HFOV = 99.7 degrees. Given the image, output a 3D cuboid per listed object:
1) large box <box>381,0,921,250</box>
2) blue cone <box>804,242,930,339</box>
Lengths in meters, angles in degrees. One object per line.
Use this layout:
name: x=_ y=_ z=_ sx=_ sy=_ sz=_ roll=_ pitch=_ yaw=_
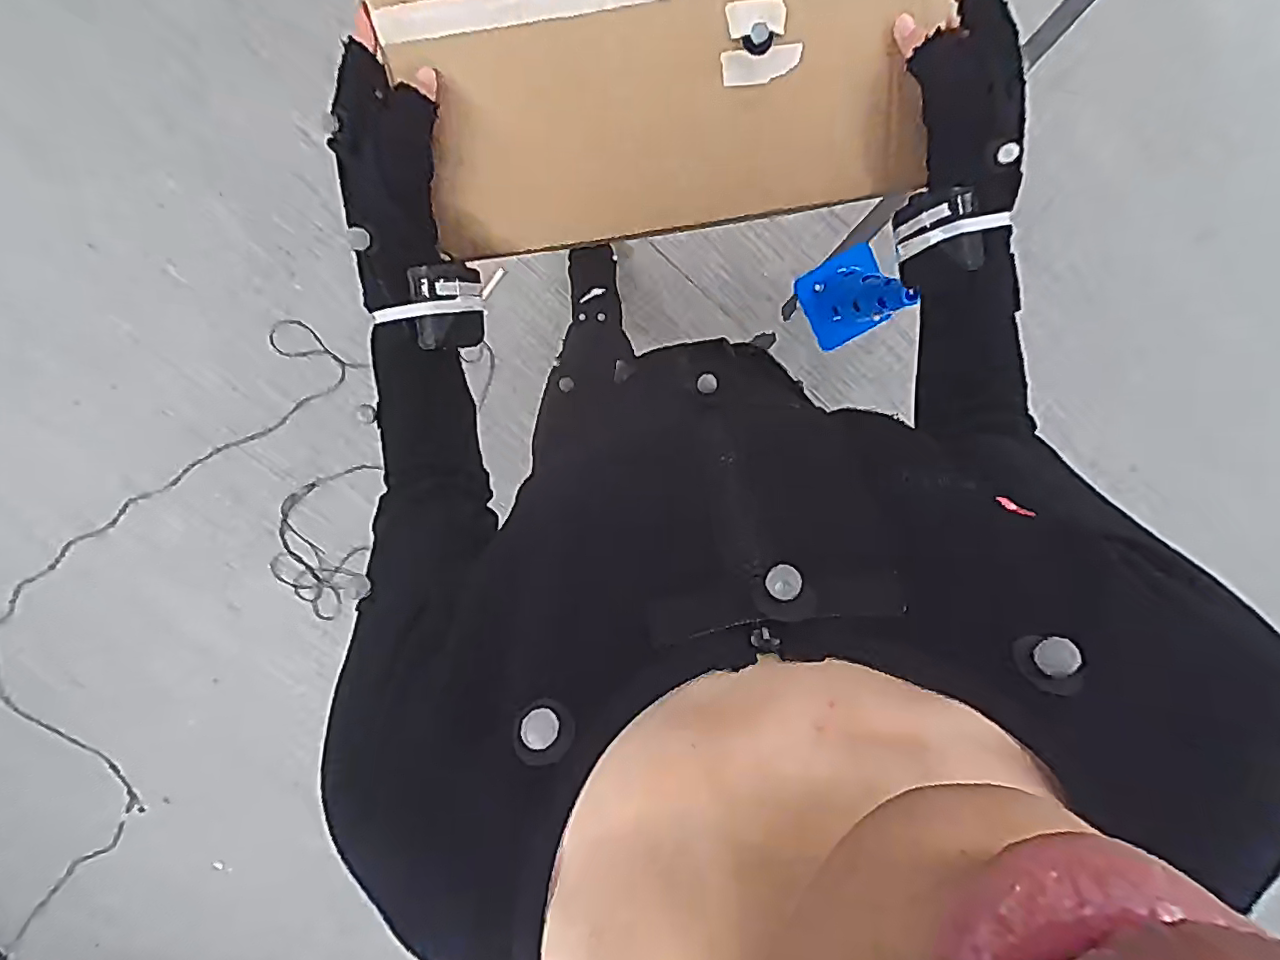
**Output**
large box: x=0.001 y=-0.422 z=0.528 sx=0.408 sy=0.320 sz=0.320 roll=-8 pitch=113 yaw=1
blue cone: x=0.519 y=-0.420 z=1.191 sx=0.192 sy=0.380 sz=0.193 roll=-27 pitch=105 yaw=8
